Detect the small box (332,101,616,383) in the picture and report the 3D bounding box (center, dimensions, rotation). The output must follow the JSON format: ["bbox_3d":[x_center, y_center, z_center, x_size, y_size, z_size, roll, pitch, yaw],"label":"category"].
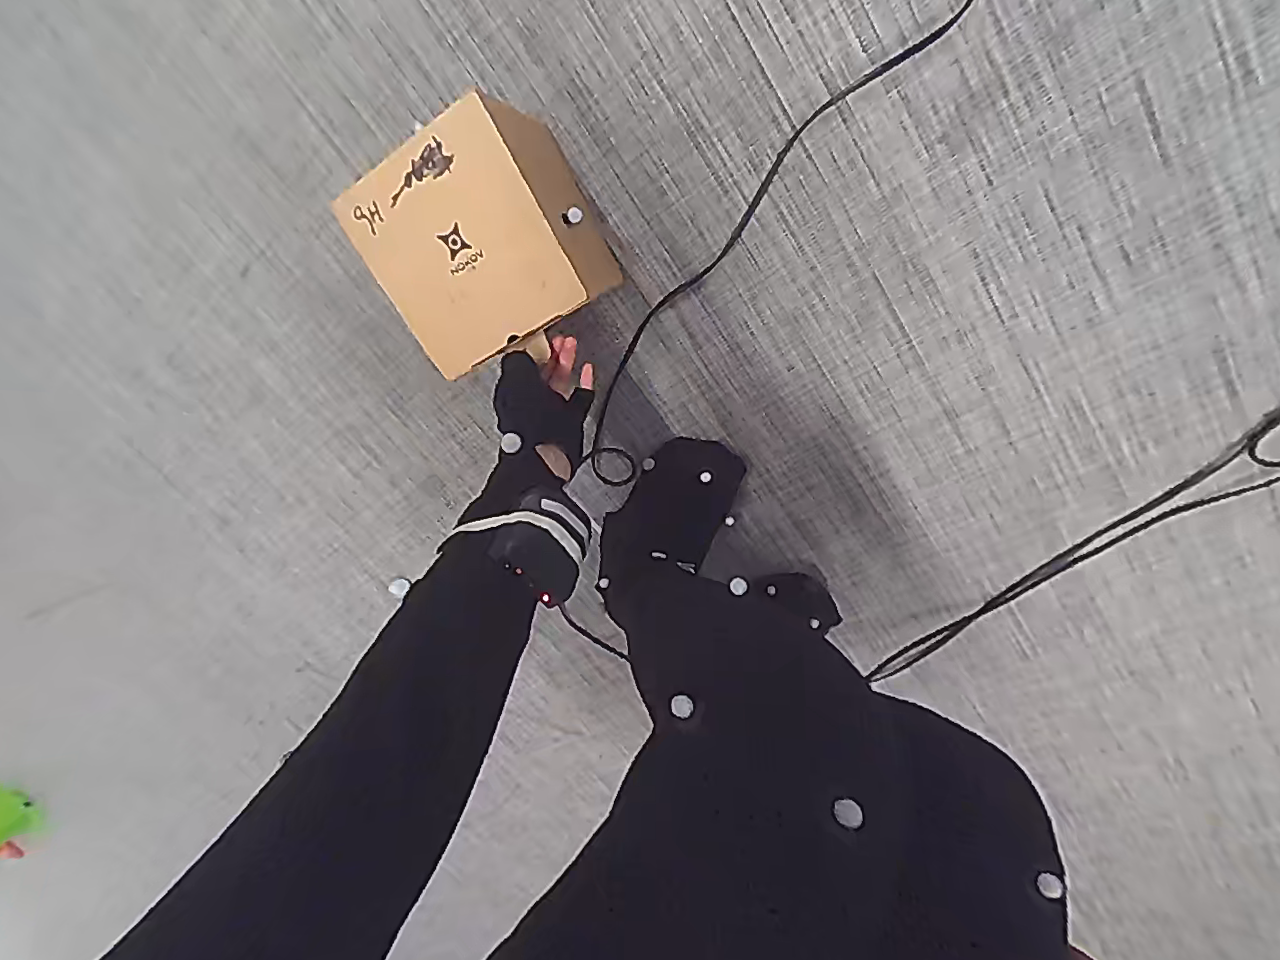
[{"bbox_3d":[-0.141,-0.226,0.532,0.168,0.176,0.179,-23,111,19],"label":"small box"}]
